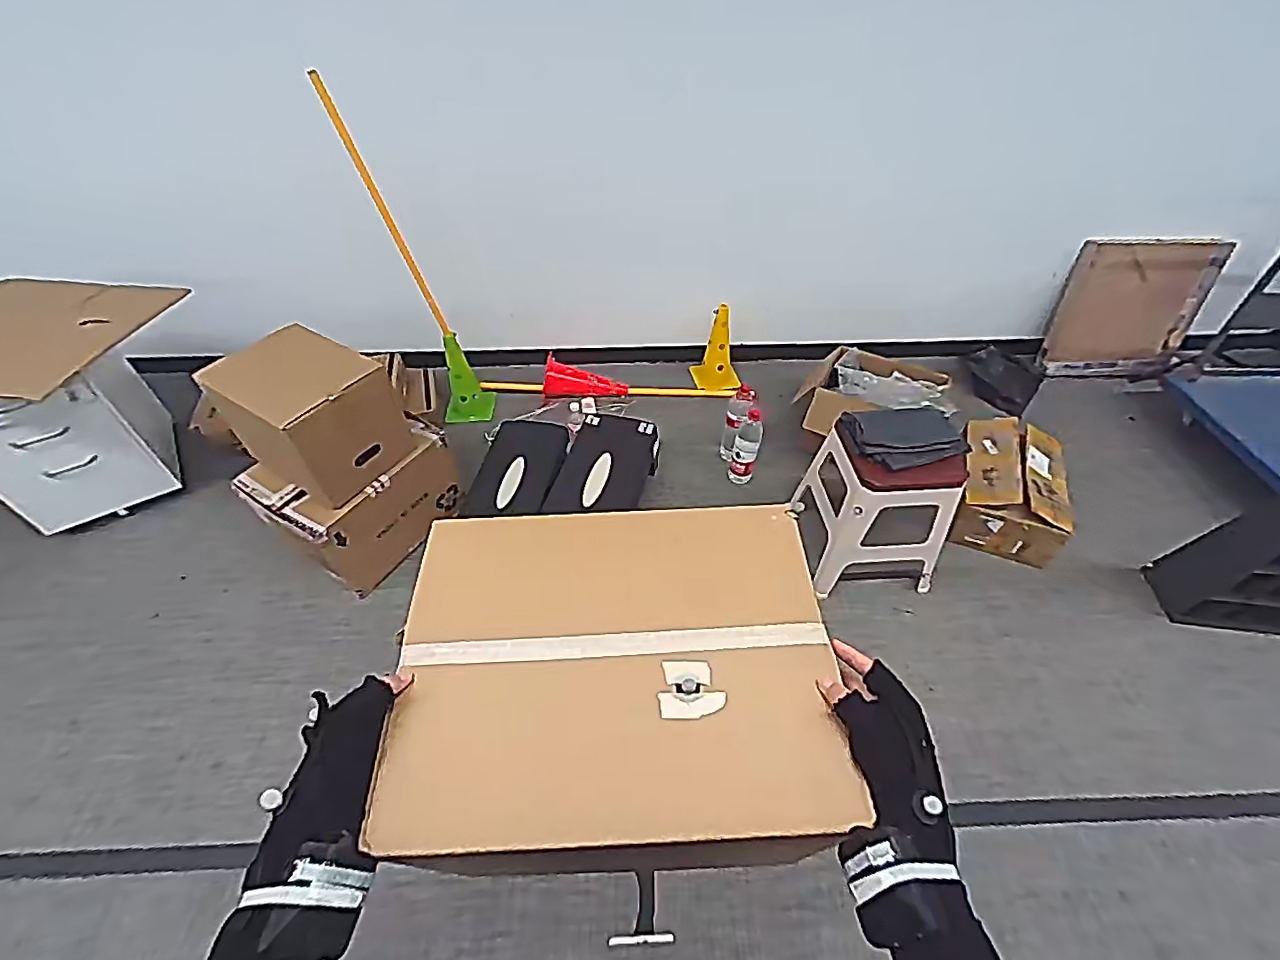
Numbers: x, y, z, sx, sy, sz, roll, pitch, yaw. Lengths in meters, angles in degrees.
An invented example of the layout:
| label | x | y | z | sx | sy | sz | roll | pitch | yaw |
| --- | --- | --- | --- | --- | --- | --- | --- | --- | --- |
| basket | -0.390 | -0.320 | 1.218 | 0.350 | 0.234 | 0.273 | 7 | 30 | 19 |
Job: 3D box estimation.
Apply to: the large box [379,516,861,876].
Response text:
| label | x | y | z | sx | sy | sz | roll | pitch | yaw |
| --- | --- | --- | --- | --- | --- | --- | --- | --- | --- |
| large box | -0.021 | 0.263 | 0.646 | 0.408 | 0.320 | 0.320 | -2 | 52 | -1 |
